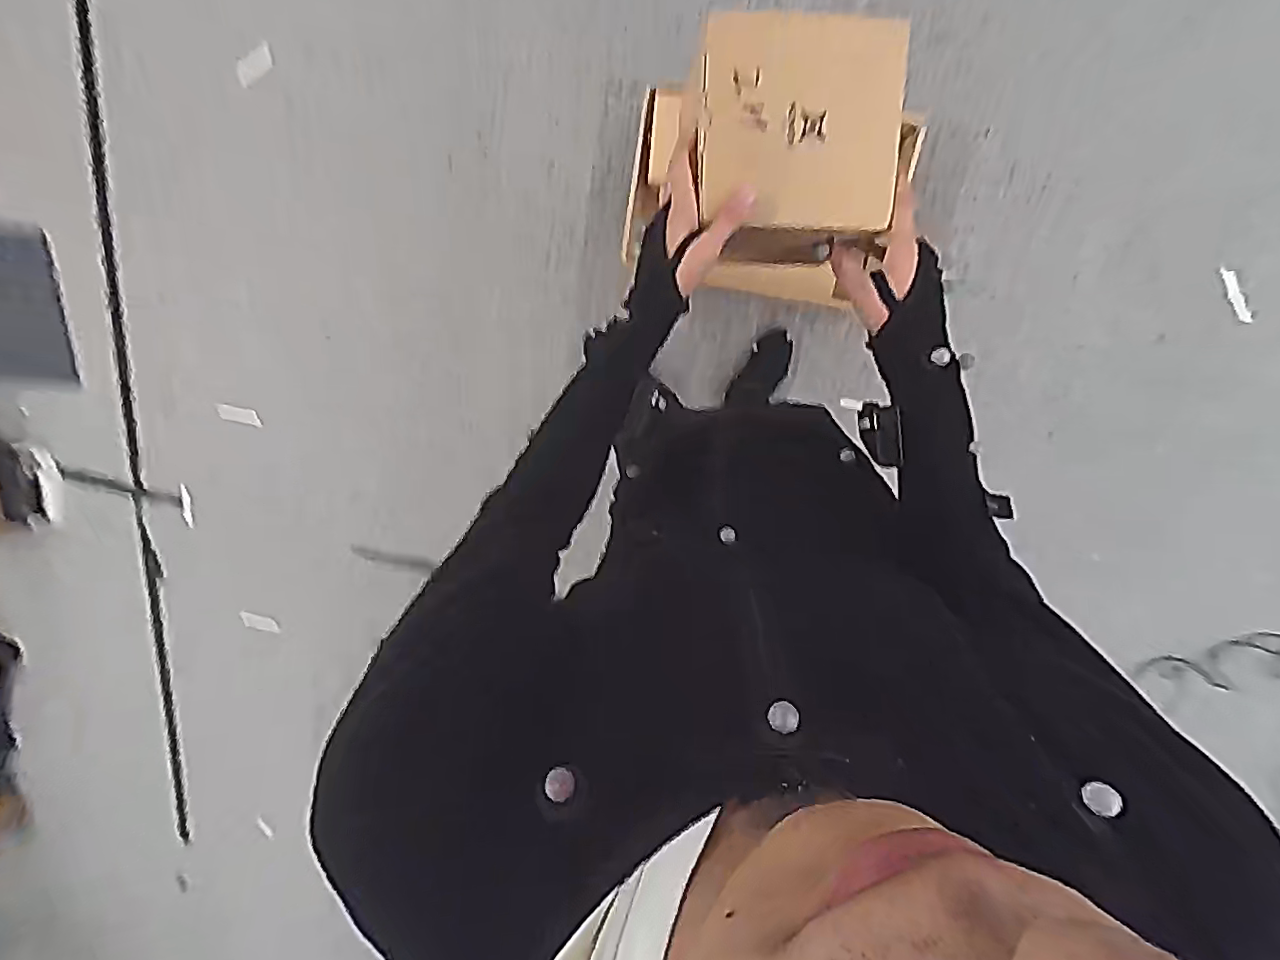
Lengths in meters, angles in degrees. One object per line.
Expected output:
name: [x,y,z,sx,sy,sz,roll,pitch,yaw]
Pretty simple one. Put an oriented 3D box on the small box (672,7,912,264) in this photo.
small box: [0.132,-0.316,0.534,0.179,0.176,0.168,-1,102,-4]
